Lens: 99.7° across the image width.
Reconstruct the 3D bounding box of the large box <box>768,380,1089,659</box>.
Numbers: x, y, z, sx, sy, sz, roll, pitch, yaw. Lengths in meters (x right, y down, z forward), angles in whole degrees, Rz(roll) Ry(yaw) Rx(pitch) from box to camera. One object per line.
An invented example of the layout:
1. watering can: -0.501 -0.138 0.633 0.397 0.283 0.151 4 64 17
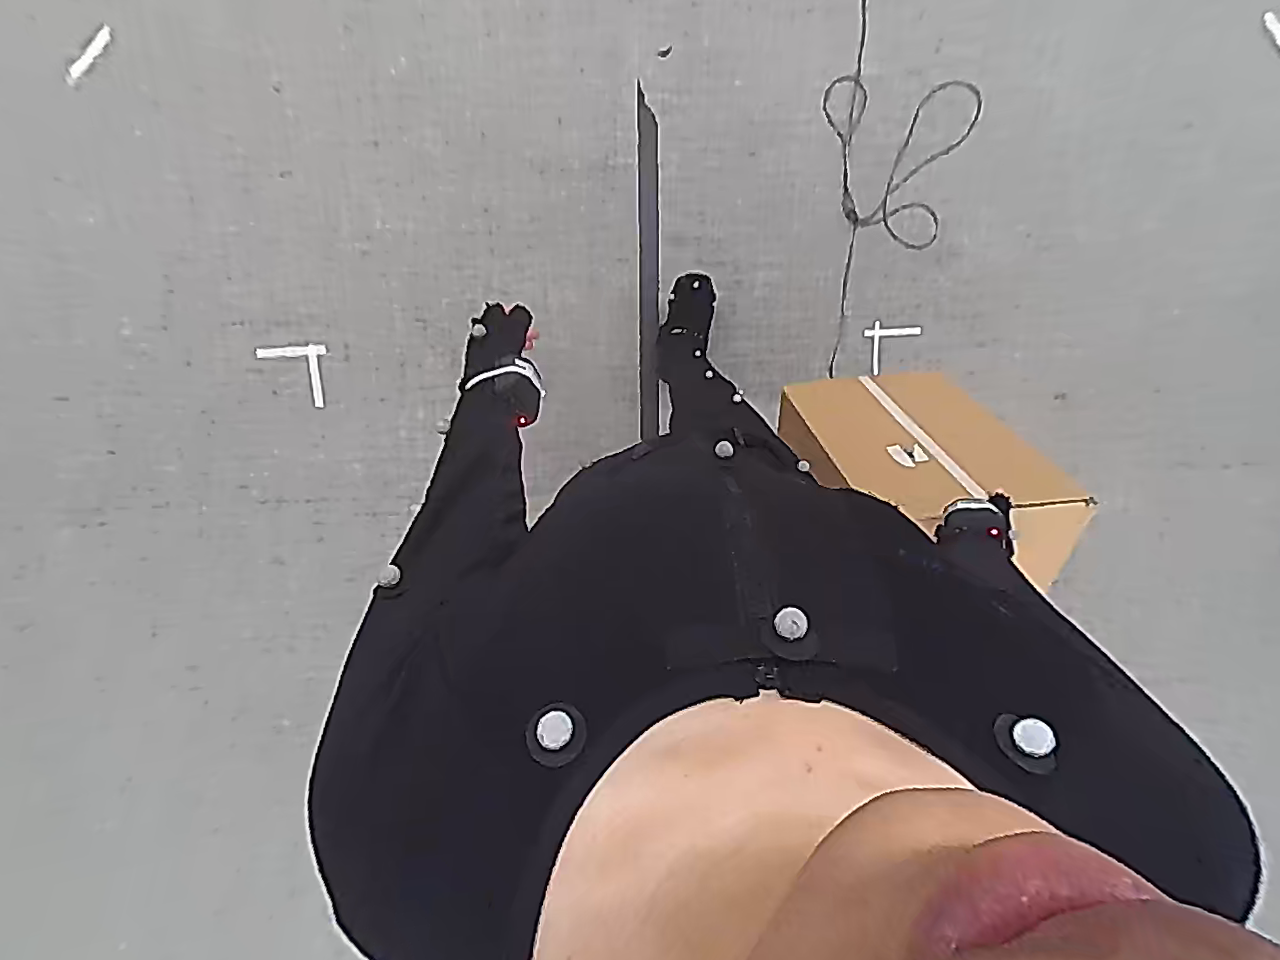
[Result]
1. large box: 0.456 0.053 0.986 0.320 0.408 0.320 -6 127 -4
